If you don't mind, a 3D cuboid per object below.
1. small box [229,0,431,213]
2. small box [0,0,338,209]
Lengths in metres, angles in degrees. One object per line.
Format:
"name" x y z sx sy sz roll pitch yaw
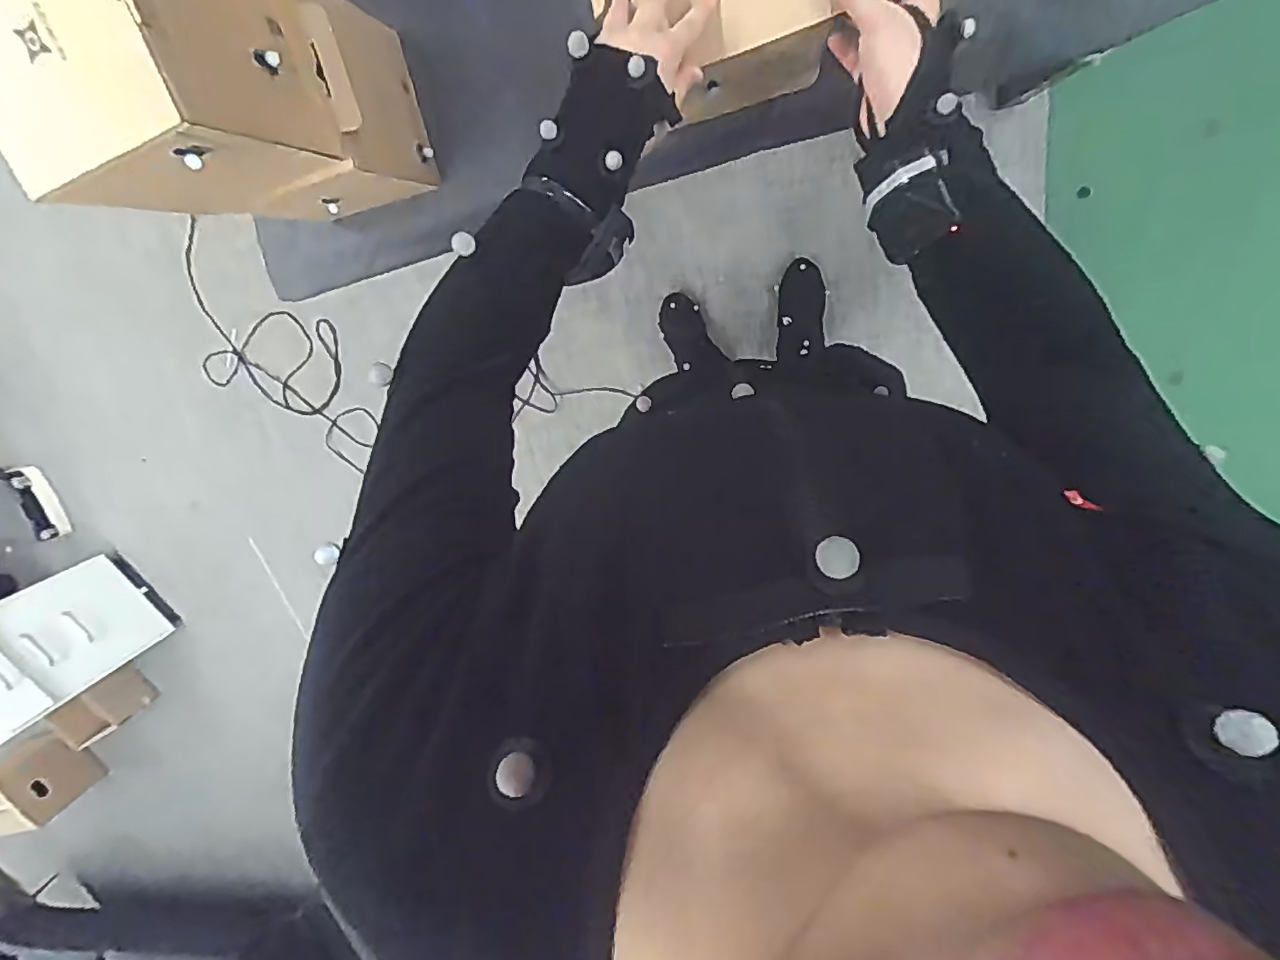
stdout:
"small box" -0.359 -0.405 0.598 0.179 0.176 0.168 -7 111 15
"small box" -0.406 -0.343 0.455 0.179 0.176 0.168 -12 110 16
